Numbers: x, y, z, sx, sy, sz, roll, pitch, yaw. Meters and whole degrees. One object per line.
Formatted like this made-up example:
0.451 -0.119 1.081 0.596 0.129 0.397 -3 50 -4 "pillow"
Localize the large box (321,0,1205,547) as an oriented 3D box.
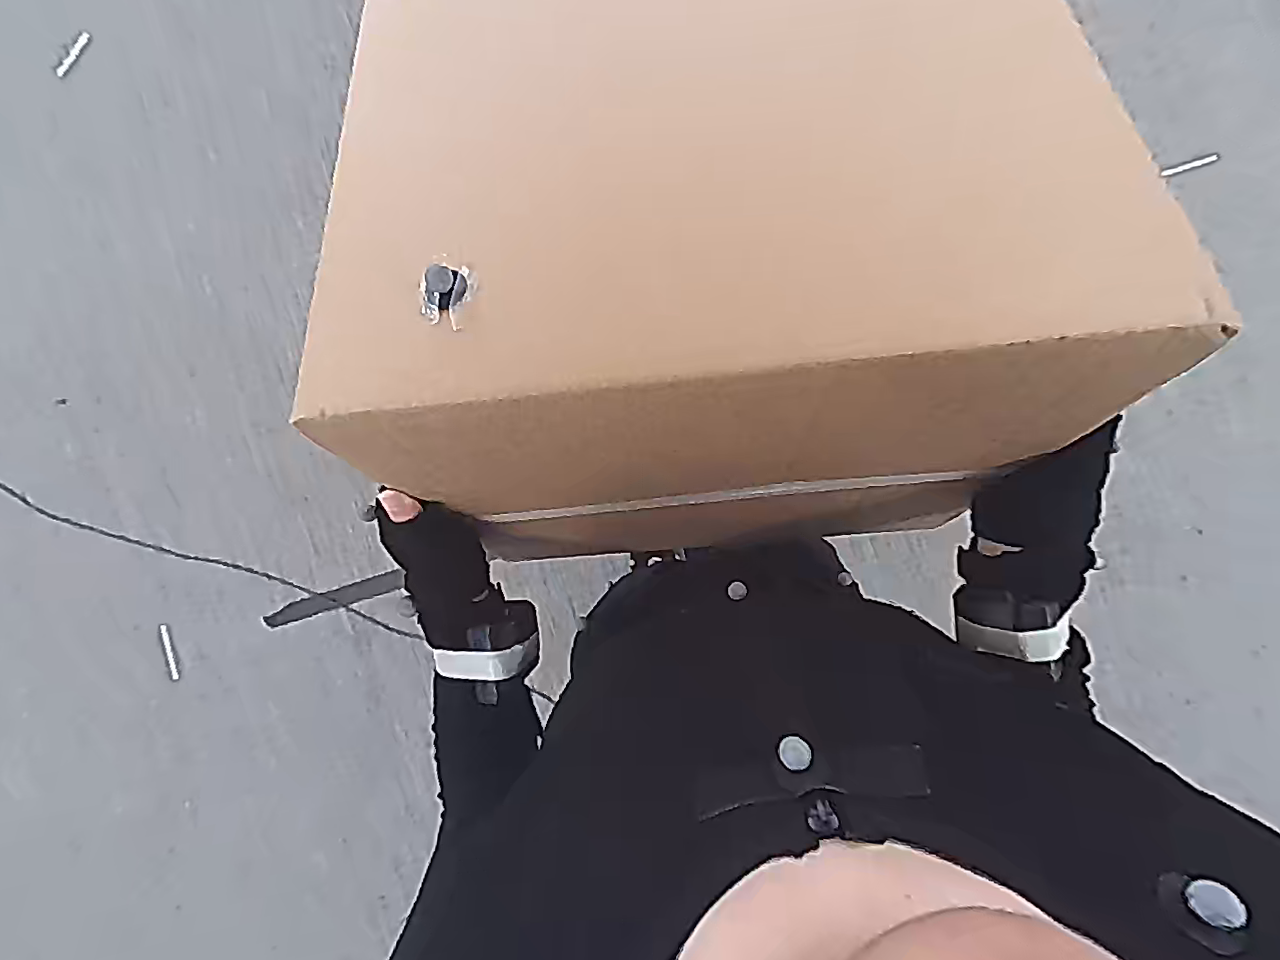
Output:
0.046 -0.146 0.433 0.408 0.320 0.320 -5 70 3 "large box"
